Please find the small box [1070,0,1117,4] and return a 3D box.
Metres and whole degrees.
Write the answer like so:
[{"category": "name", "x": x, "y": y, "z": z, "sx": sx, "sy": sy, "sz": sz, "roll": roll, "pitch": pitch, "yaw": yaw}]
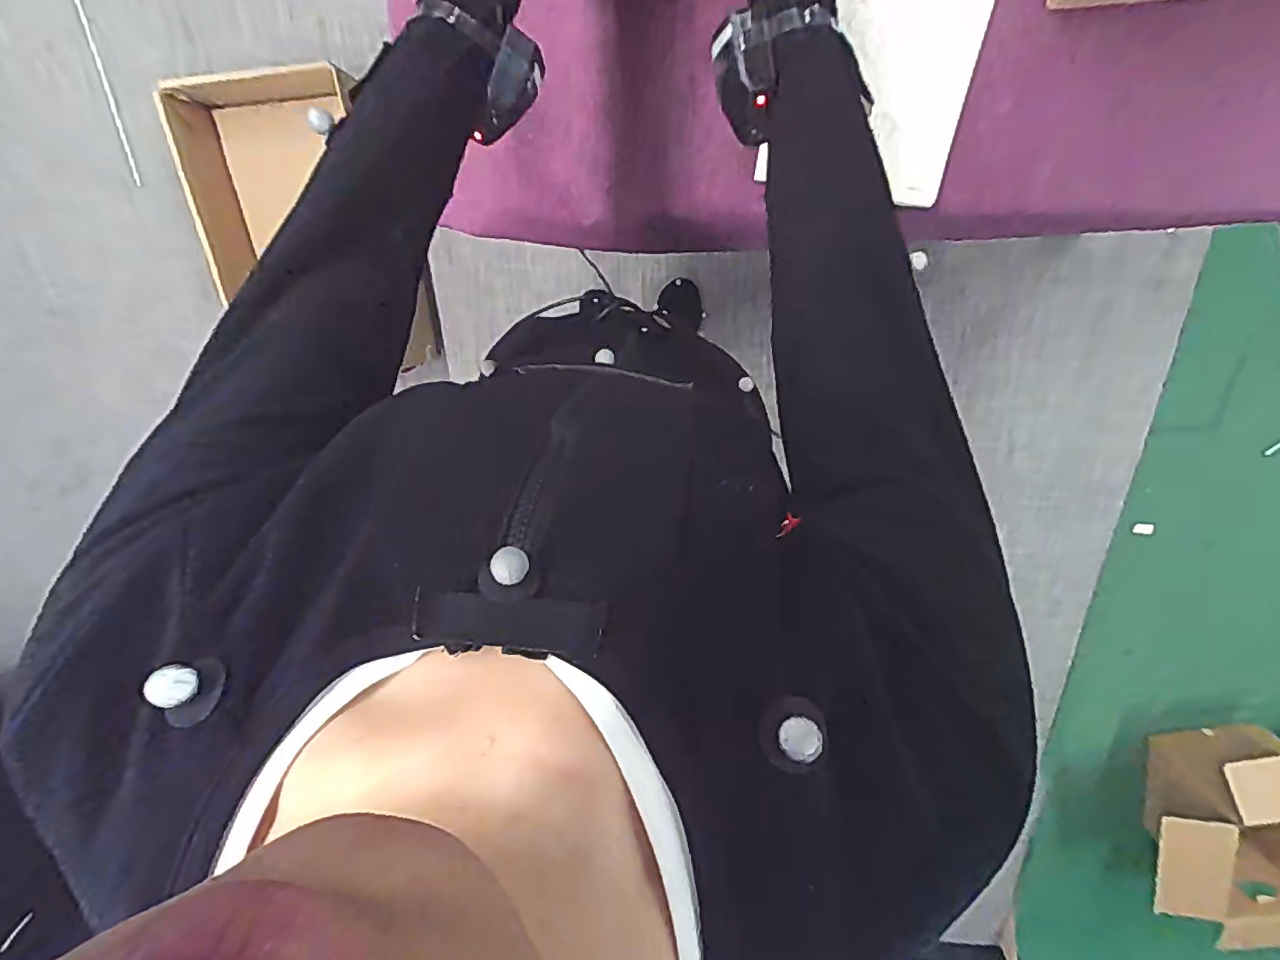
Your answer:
[{"category": "small box", "x": 0.467, "y": -0.511, "z": 0.421, "sx": 0.168, "sy": 0.176, "sz": 0.179, "roll": -1, "pitch": 110, "yaw": 5}]
